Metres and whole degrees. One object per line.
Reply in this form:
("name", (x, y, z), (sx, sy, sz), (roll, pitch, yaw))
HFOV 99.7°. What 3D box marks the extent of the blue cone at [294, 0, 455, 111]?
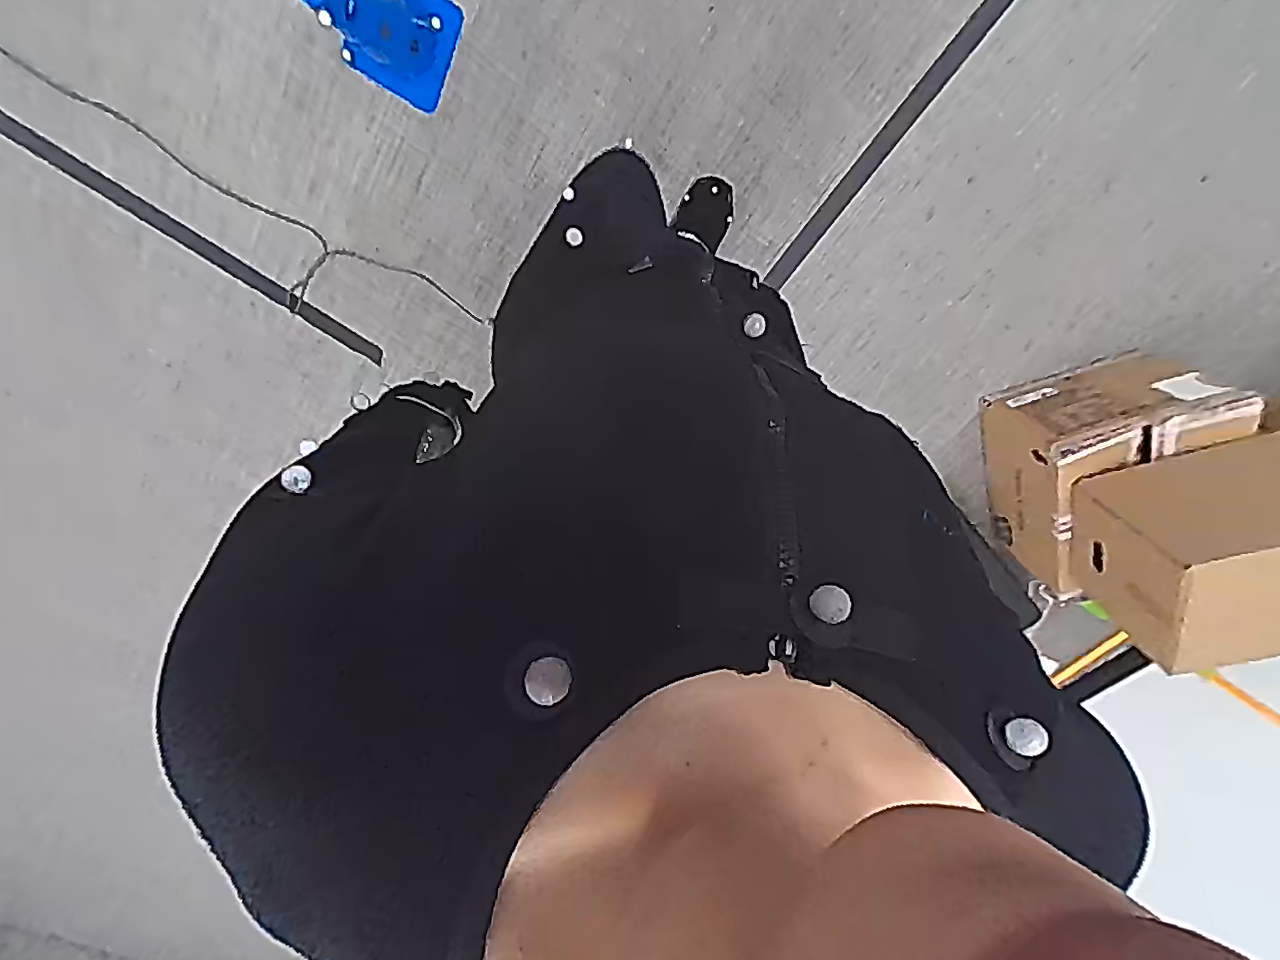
("blue cone", (-0.480, -0.791, 0.938), (0.193, 0.380, 0.192), (27, 117, -15))
